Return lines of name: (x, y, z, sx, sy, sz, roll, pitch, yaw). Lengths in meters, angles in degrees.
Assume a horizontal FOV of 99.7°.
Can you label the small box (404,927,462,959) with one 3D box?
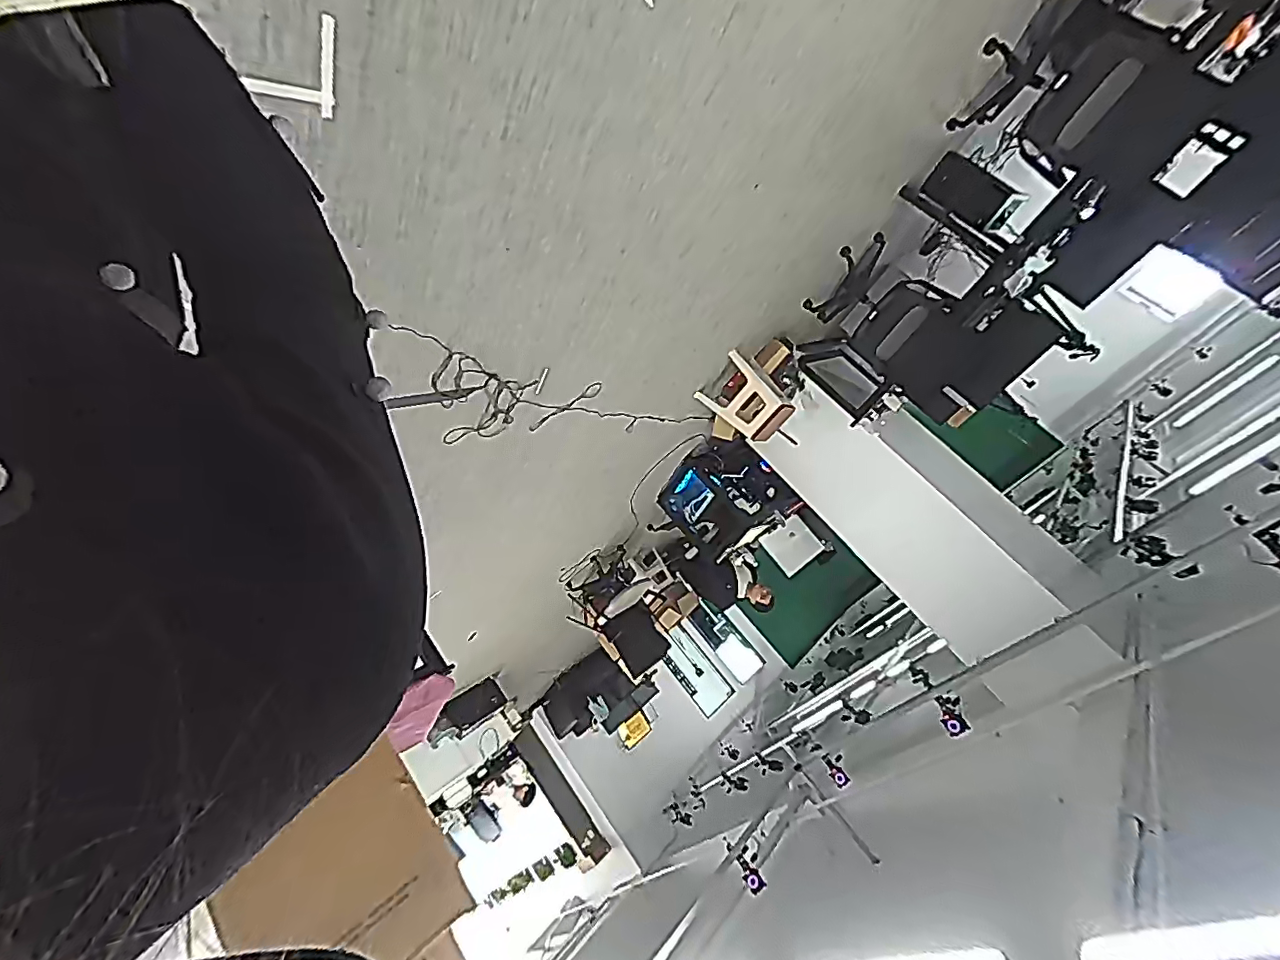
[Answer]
small box: (-0.631, 1.488, 1.615, 0.168, 0.176, 0.179, -22, 153, -44)
